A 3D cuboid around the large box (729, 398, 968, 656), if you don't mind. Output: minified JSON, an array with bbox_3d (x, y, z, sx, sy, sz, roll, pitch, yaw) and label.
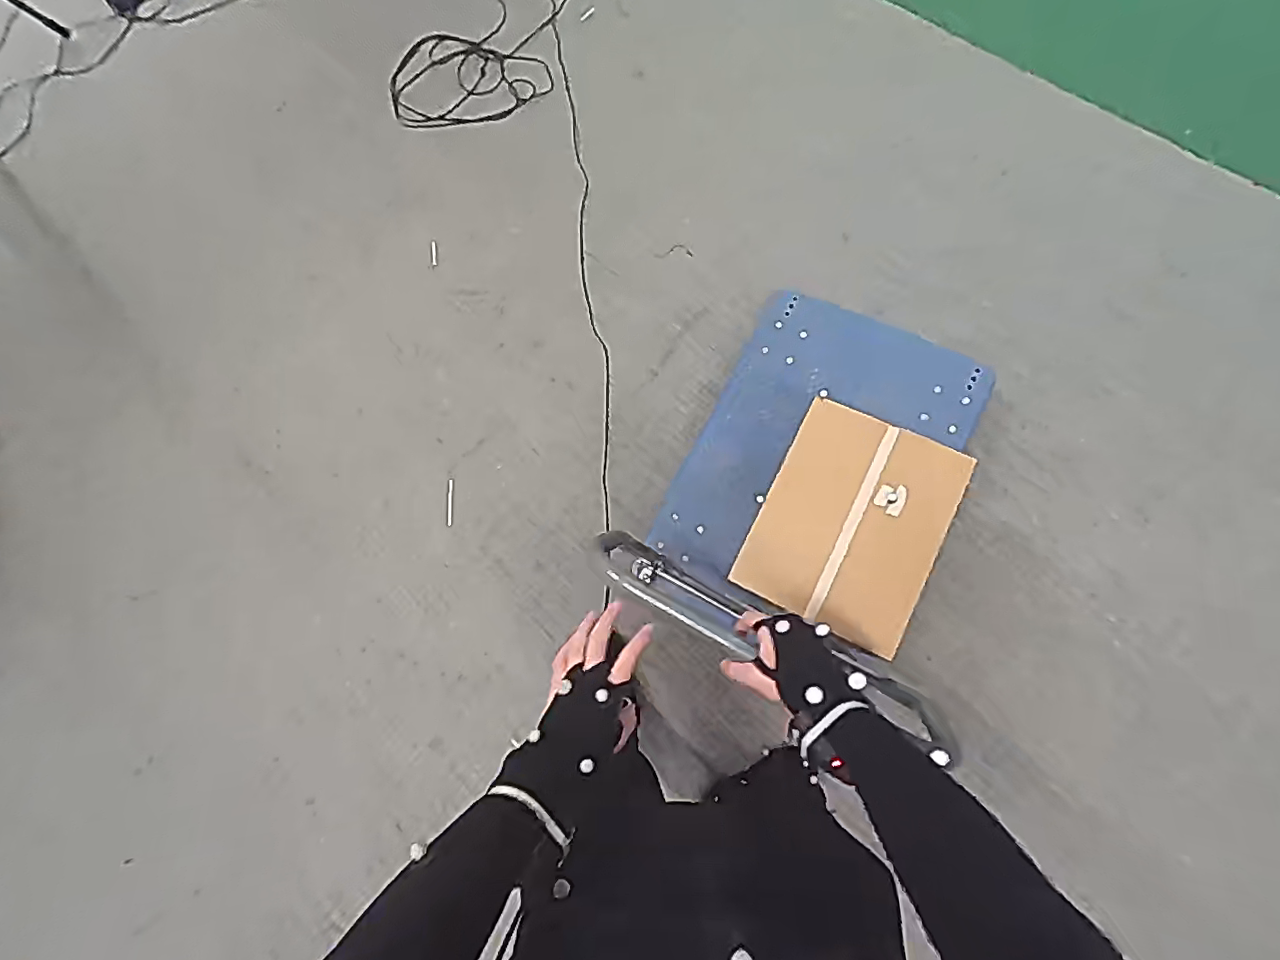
[{"bbox_3d":[0.405,0.109,1.139,0.320,0.320,0.408,26,81,12],"label":"large box"}]
